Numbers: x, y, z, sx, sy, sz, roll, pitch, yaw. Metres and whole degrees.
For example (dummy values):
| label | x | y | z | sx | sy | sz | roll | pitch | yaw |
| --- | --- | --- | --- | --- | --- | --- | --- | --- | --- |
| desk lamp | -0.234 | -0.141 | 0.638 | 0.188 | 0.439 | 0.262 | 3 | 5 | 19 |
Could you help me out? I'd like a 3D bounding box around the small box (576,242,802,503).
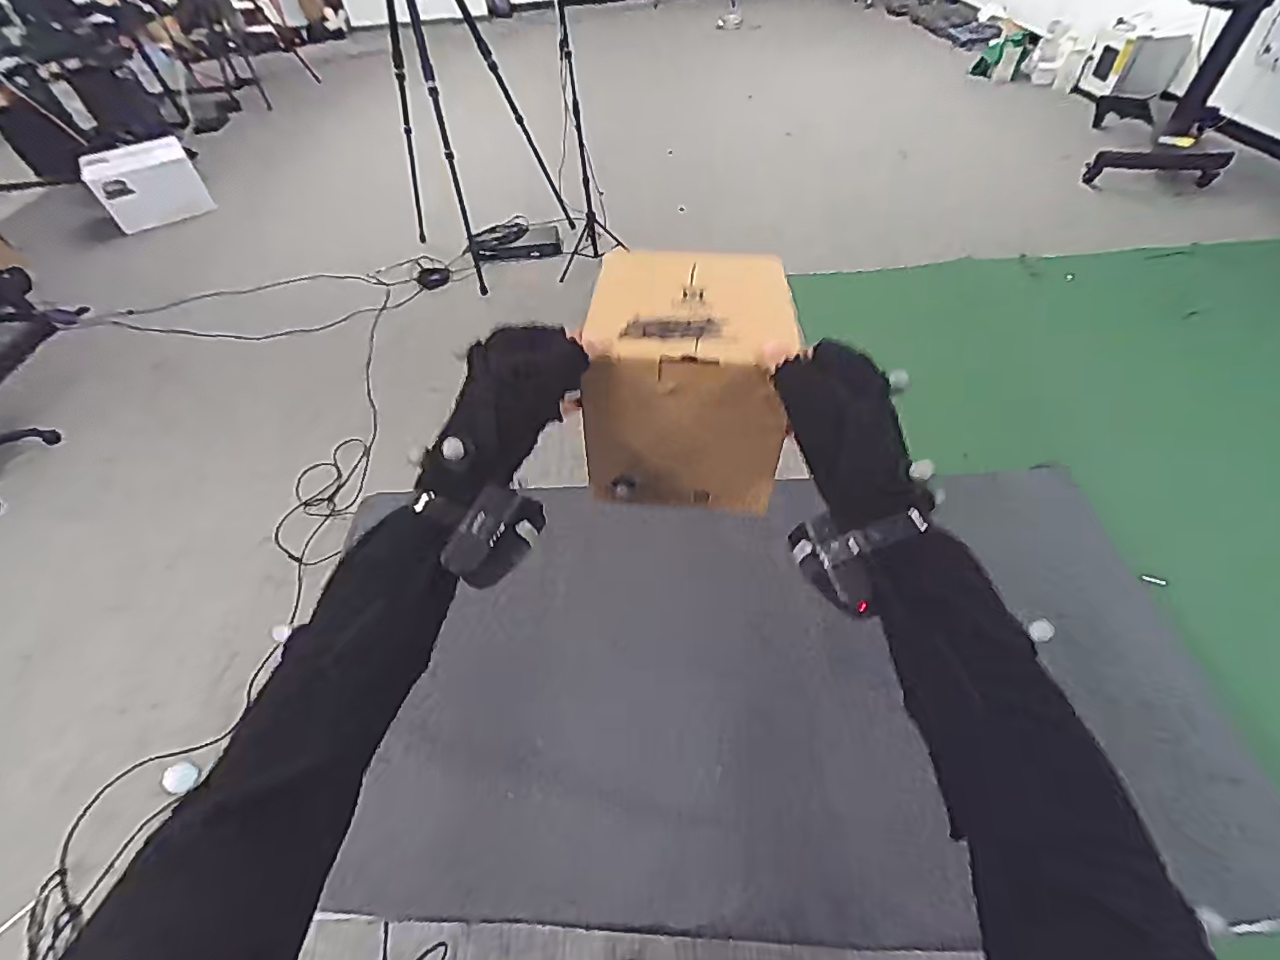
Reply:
| label | x | y | z | sx | sy | sz | roll | pitch | yaw |
| --- | --- | --- | --- | --- | --- | --- | --- | --- | --- |
| small box | 0.042 | -0.097 | 0.498 | 0.168 | 0.176 | 0.179 | 4 | 48 | 3 |
